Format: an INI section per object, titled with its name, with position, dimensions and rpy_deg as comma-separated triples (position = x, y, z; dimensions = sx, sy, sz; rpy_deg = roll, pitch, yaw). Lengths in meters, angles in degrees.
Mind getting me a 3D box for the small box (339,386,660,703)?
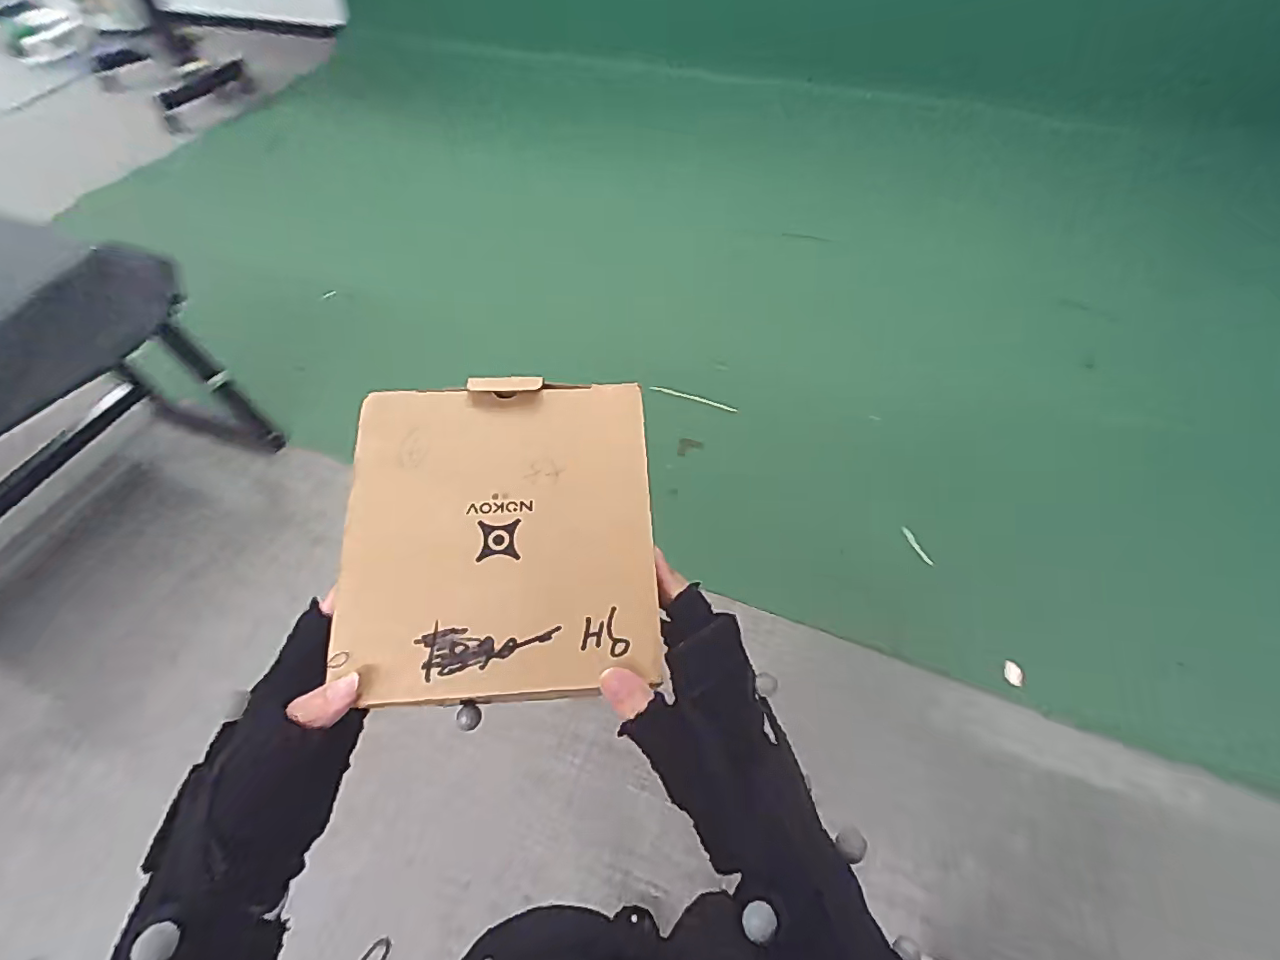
[small box]
position = -0.085, 0.055, 0.382
dimensions = 0.168, 0.176, 0.179
rpy_deg = -6, 69, -6
